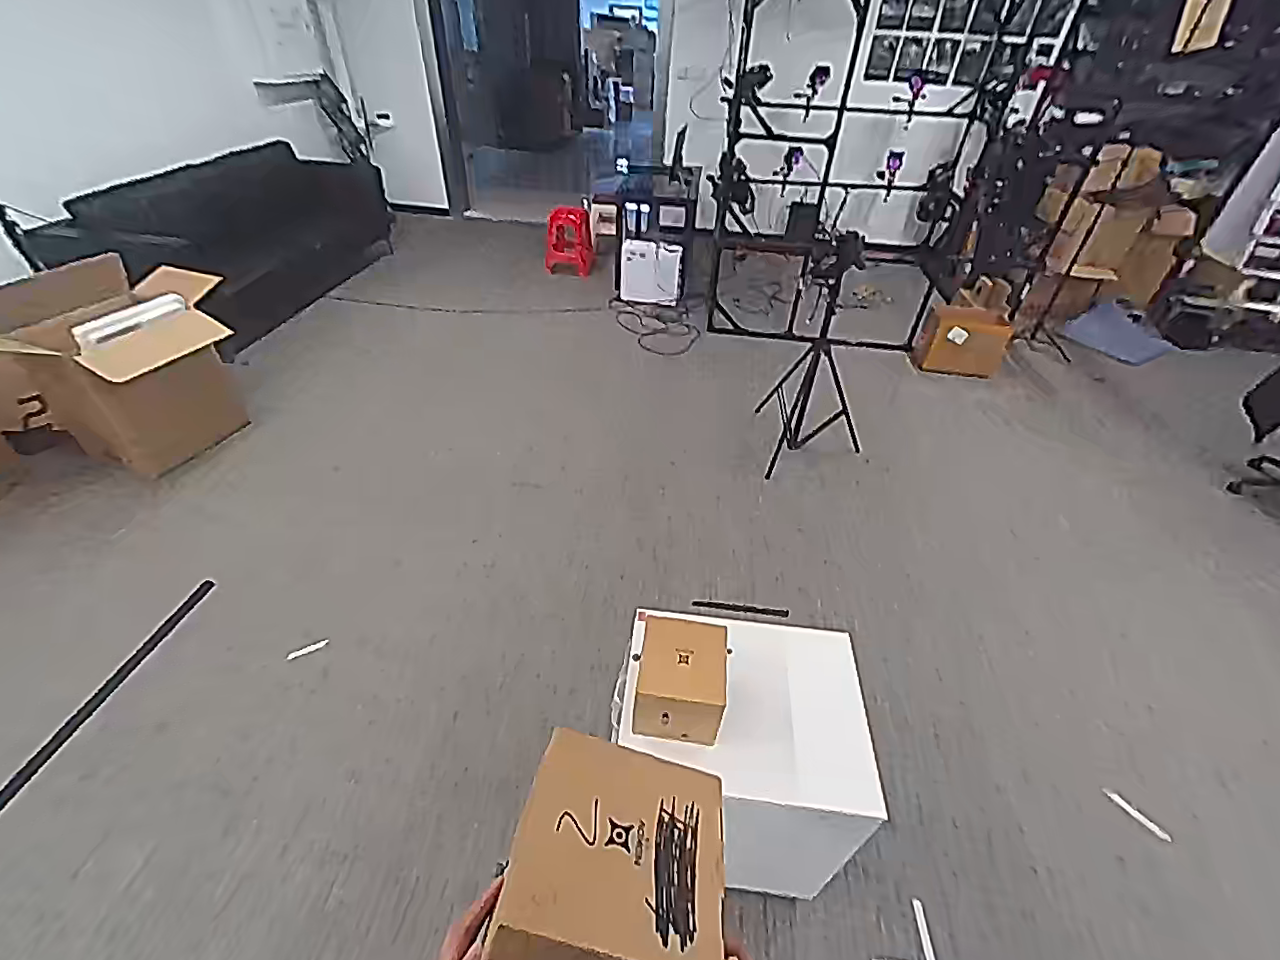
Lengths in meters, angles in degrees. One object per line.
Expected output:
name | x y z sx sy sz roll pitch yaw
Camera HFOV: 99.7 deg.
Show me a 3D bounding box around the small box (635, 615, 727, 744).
small box | 0.081 0.400 1.080 0.168 0.176 0.179 7 40 4
